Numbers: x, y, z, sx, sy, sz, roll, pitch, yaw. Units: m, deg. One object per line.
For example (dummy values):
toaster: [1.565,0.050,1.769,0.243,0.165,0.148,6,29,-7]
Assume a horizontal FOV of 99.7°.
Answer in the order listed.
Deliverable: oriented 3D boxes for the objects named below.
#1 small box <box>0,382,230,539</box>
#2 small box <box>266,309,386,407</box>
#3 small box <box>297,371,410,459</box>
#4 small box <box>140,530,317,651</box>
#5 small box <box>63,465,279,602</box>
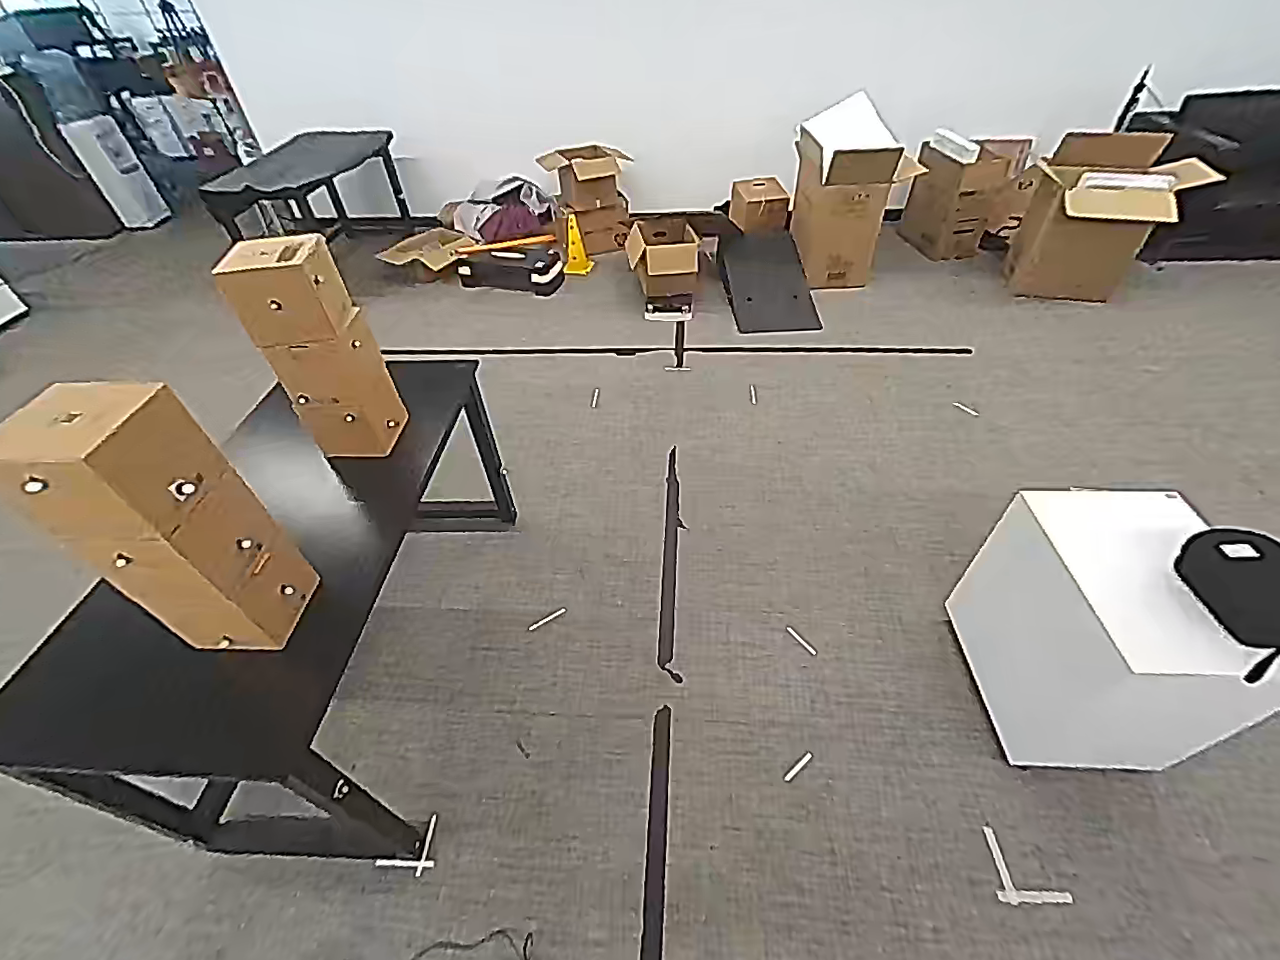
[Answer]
small box: [-0.767,-0.026,0.792,0.179,0.176,0.168,0,46,3]
small box: [-0.732,-0.285,1.287,0.168,0.176,0.179,-2,44,0]
small box: [-0.732,-0.168,1.403,0.179,0.176,0.168,0,45,3]
small box: [-0.754,0.208,1.020,0.179,0.176,0.168,0,44,2]
small box: [-0.762,0.091,0.905,0.179,0.176,0.168,0,45,3]
